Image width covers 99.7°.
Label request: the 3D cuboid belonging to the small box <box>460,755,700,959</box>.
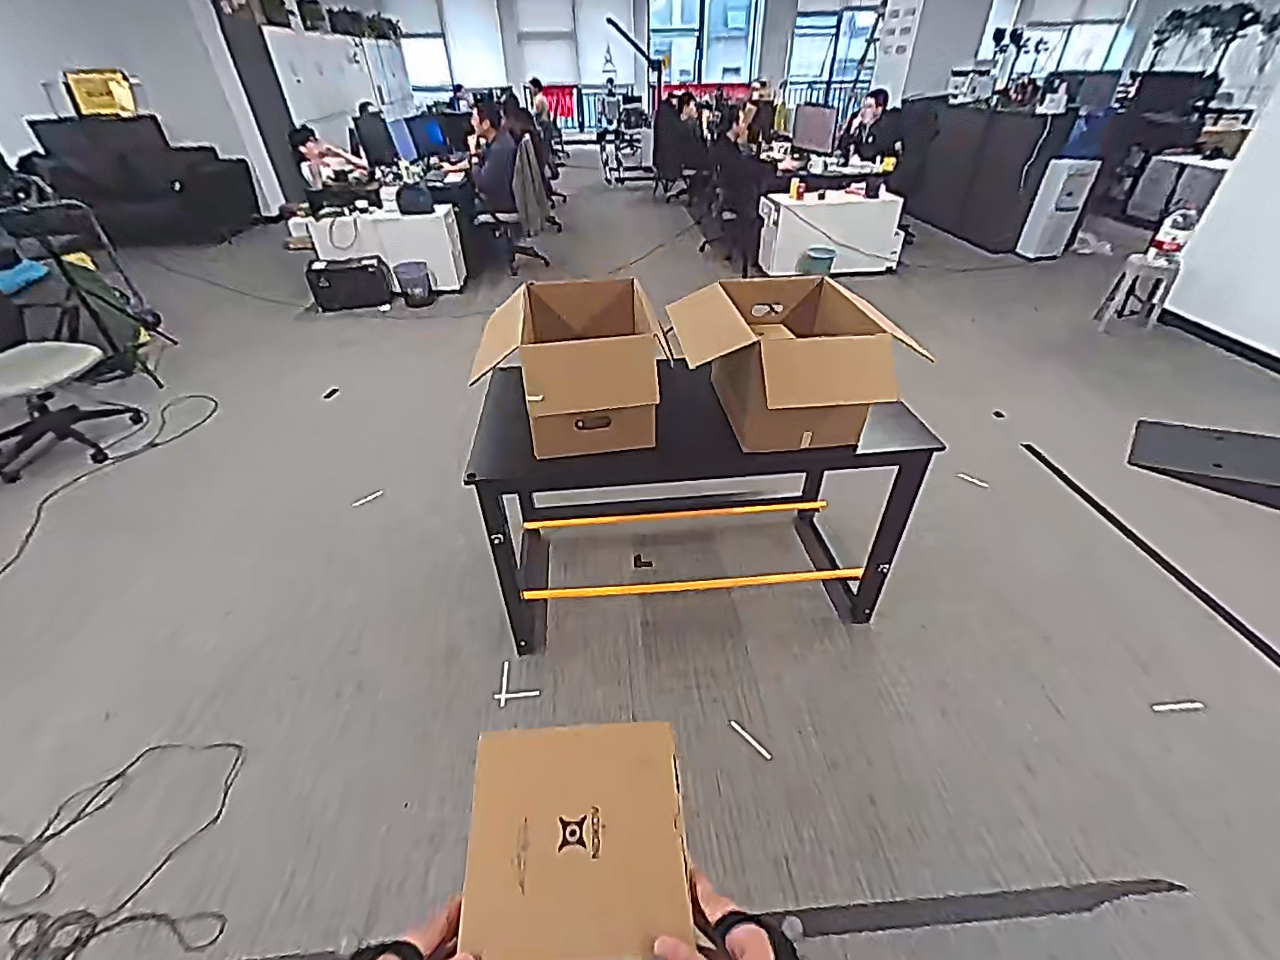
[{"bbox_3d":[-0.051,0.362,0.486,0.179,0.176,0.168,-3,49,-4],"label":"small box"}]
